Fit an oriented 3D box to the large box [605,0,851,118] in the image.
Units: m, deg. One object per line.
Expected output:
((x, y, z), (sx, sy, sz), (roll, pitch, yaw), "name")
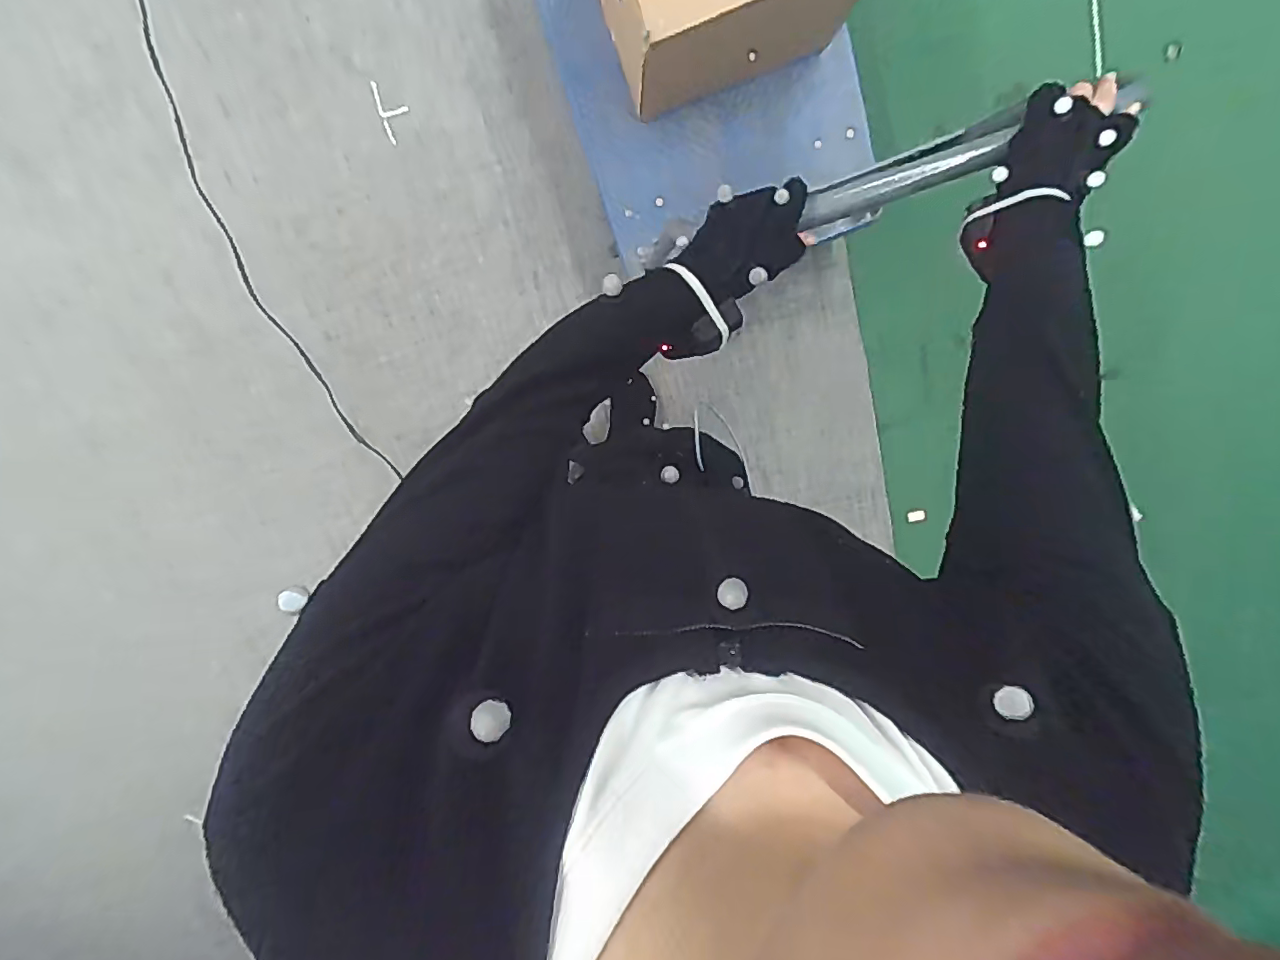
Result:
((0.145, -0.917, 0.931), (0.408, 0.320, 0.320), (-21, 104, 4), "large box")
